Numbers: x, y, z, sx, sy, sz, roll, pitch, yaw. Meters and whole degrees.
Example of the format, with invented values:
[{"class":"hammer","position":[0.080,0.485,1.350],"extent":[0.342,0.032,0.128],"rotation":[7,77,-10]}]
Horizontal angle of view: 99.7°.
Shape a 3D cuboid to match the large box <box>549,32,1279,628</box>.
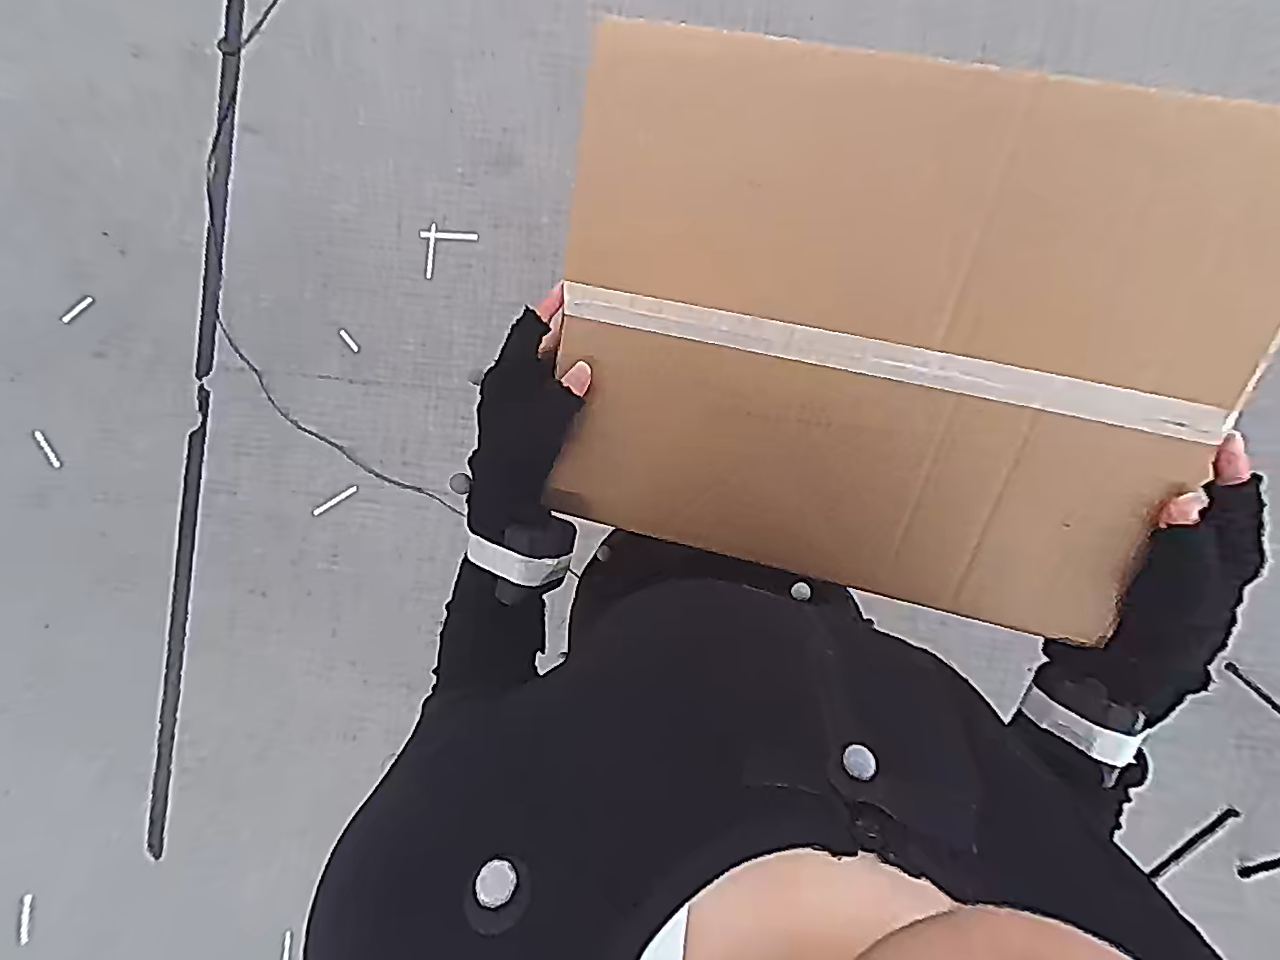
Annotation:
[{"class":"large box","position":[0.171,-0.126,0.486],"extent":[0.408,0.320,0.320],"rotation":[14,111,7]}]
